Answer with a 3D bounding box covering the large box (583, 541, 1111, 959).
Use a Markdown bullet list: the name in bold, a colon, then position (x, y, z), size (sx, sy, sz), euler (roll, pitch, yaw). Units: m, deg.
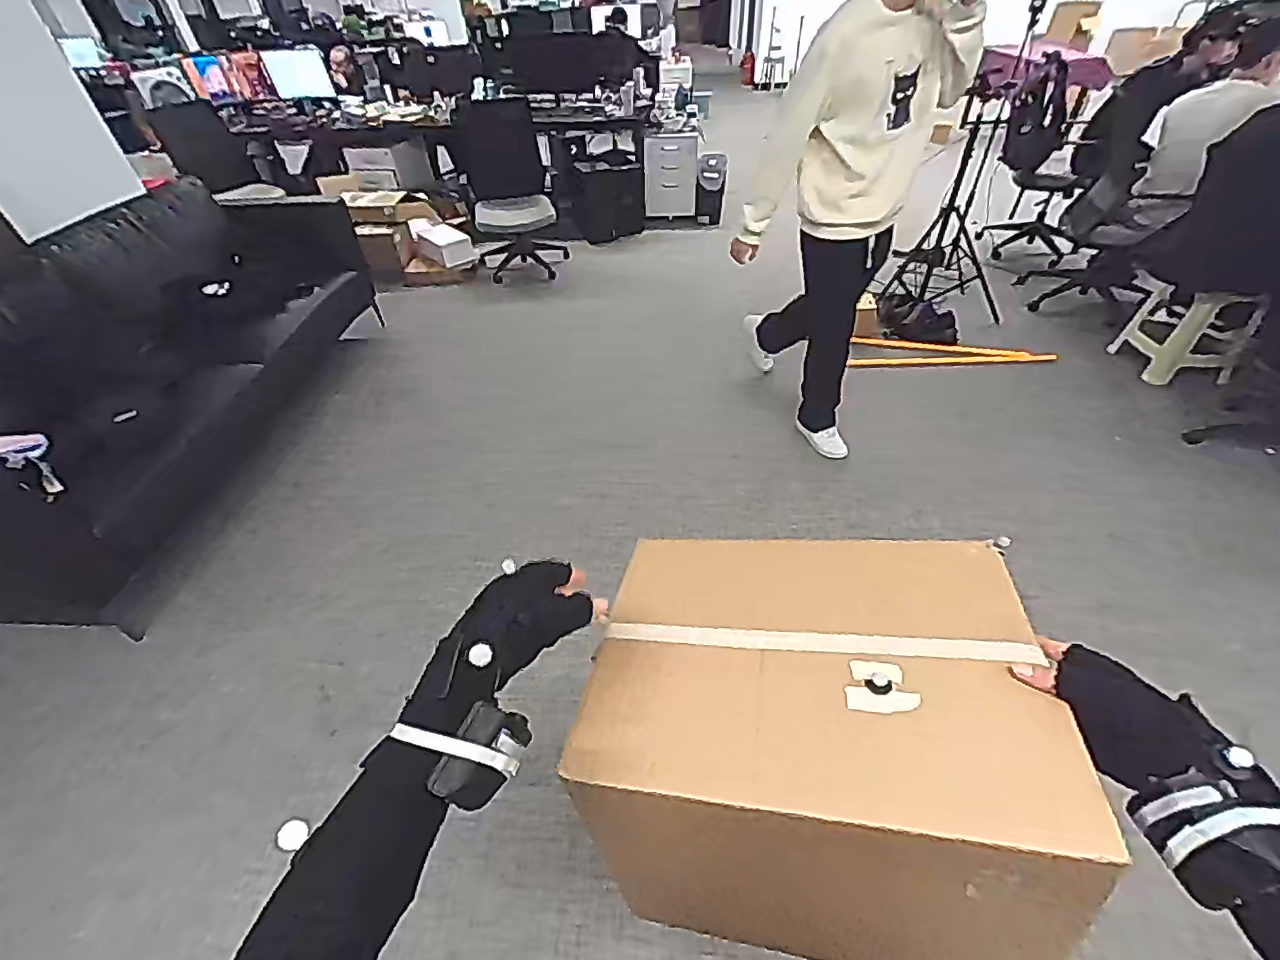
- **large box**: position (0.199, 0.285, 0.622), size (0.408, 0.320, 0.320), euler (-2, 35, 19)
